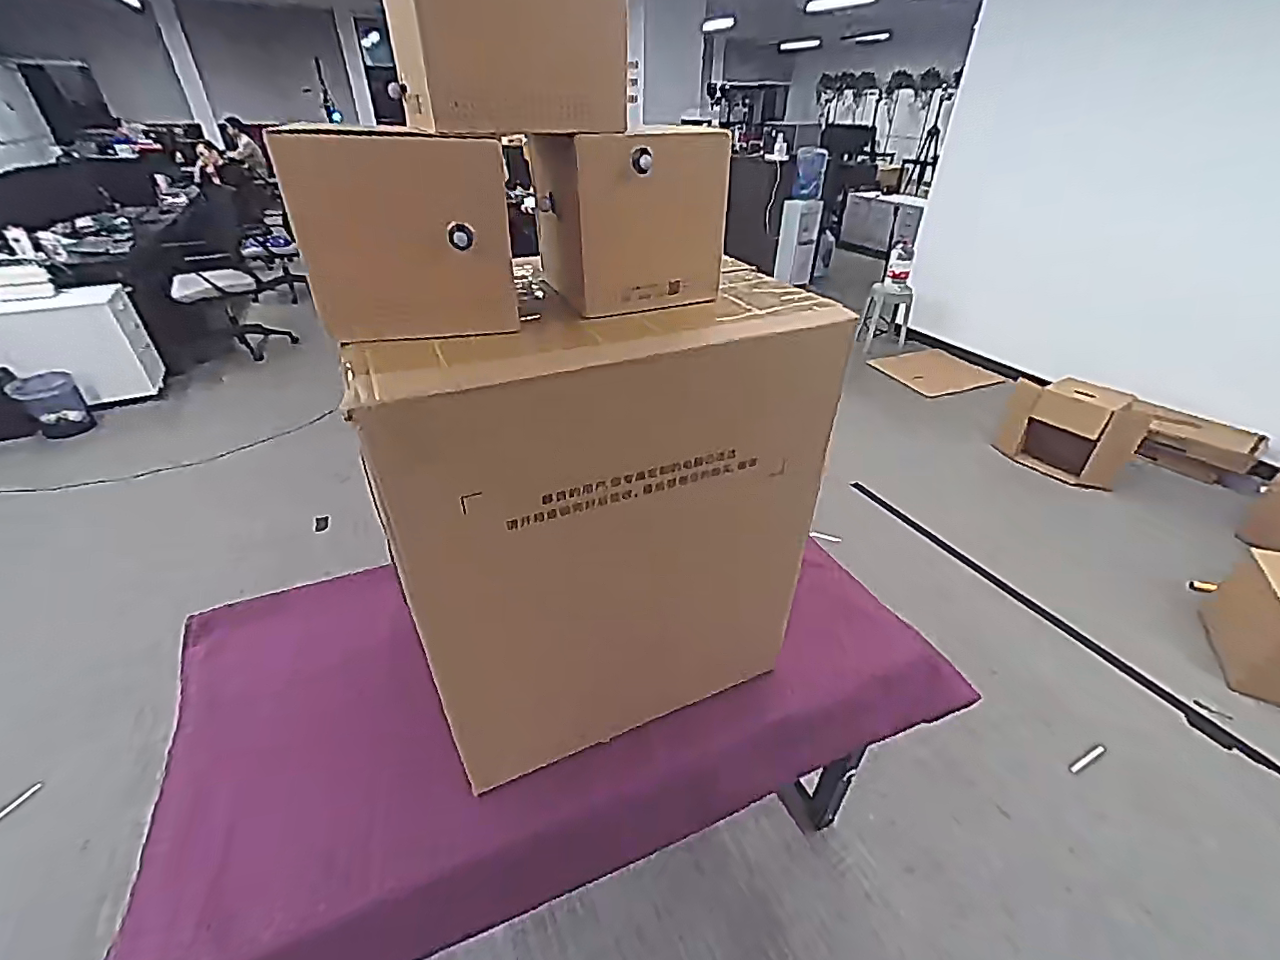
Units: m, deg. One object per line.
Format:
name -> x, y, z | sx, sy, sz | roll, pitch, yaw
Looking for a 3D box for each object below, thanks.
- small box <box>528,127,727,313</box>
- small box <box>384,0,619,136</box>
small box -> -0.021, -0.301, 0.618 | 0.168, 0.176, 0.179 | -15, 37, -20
small box -> -0.127, -0.410, 0.484 | 0.179, 0.176, 0.168 | -15, 38, -23
